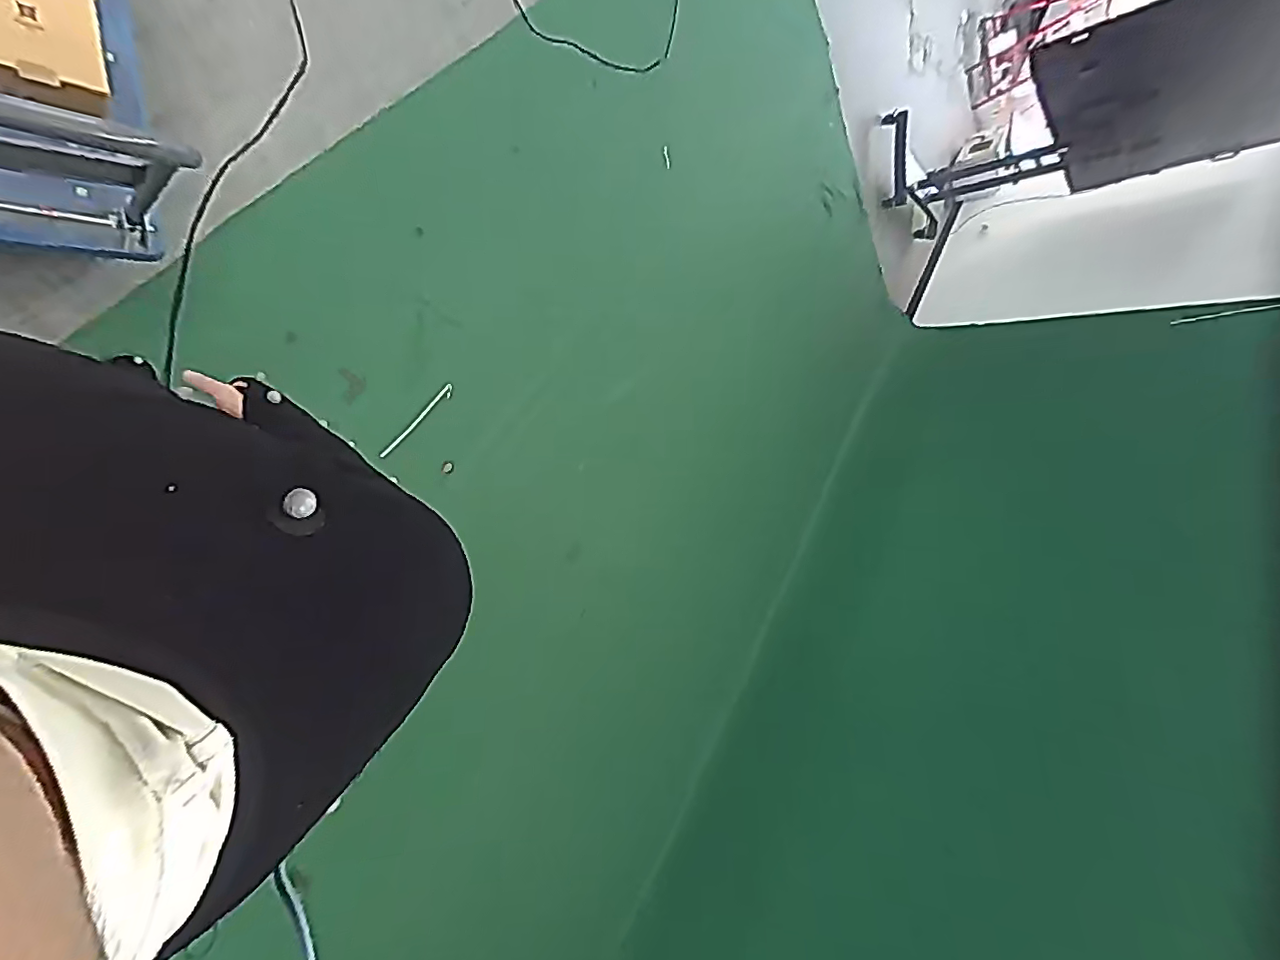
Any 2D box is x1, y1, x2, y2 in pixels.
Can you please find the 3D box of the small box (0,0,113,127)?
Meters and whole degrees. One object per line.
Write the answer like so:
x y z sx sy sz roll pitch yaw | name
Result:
-1.010 -0.731 0.897 0.168 0.176 0.179 -12 105 -45 | small box
